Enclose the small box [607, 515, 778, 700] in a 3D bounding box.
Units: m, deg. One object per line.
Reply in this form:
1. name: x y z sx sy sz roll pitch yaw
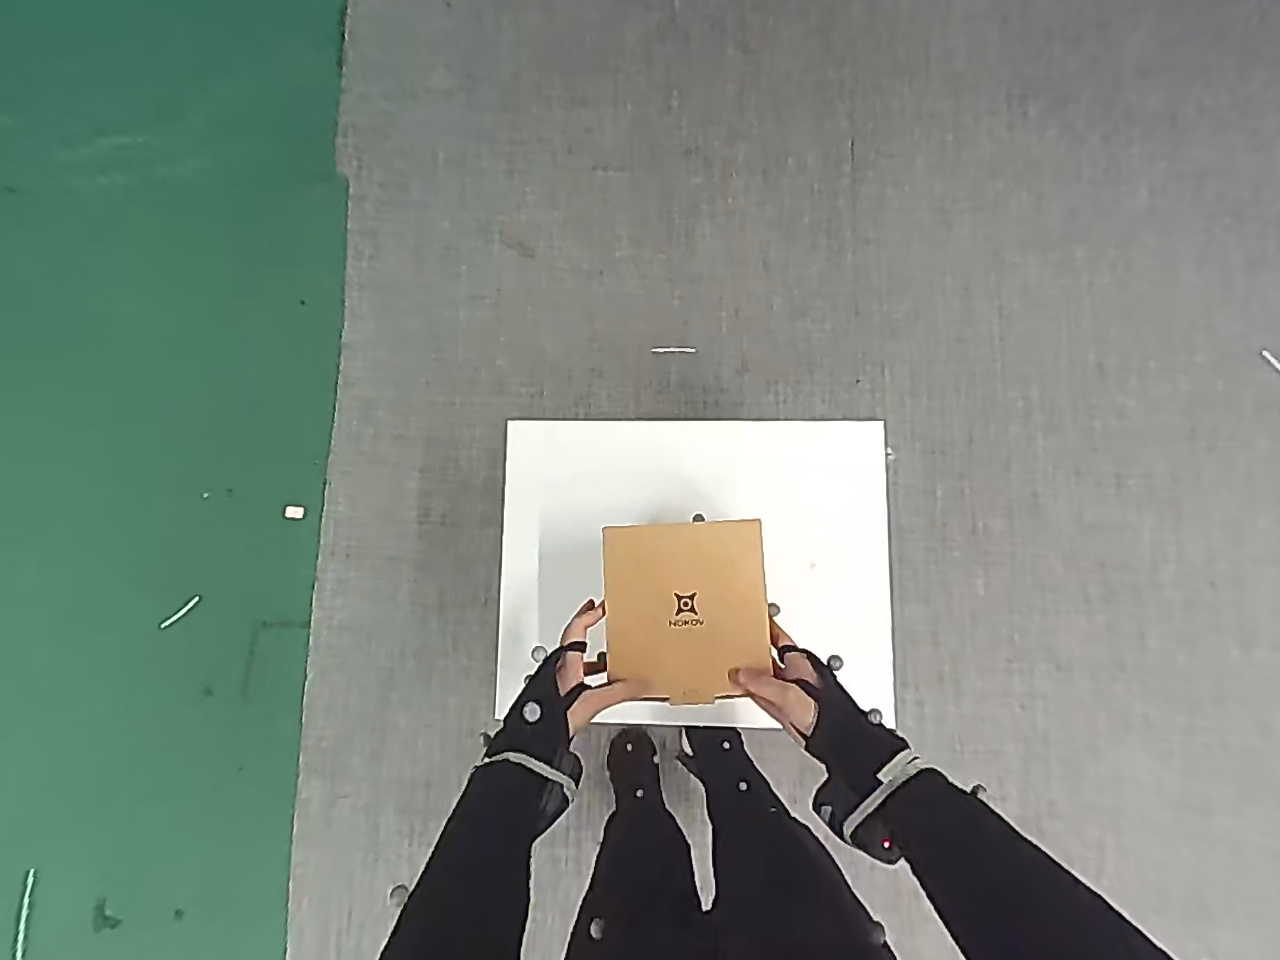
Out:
1. small box: 0.054 0.138 0.619 0.168 0.176 0.179 -4 82 3
